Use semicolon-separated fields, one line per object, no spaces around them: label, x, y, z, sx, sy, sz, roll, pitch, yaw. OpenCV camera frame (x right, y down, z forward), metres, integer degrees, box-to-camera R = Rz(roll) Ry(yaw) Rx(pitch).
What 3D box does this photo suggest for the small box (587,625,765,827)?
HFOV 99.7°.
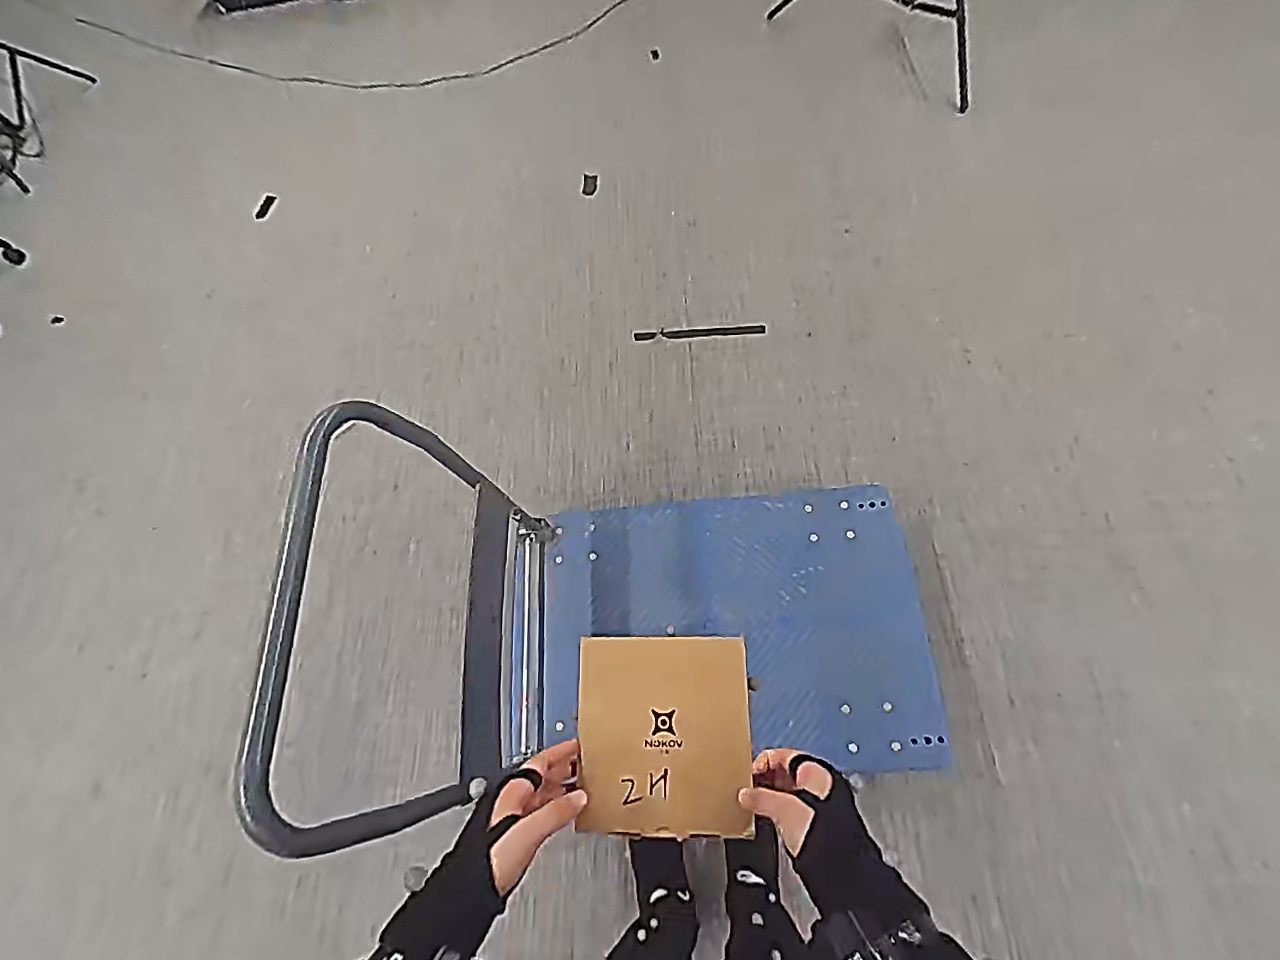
small box;0.039;0.255;0.592;0.168;0.176;0.179;-2;72;6
